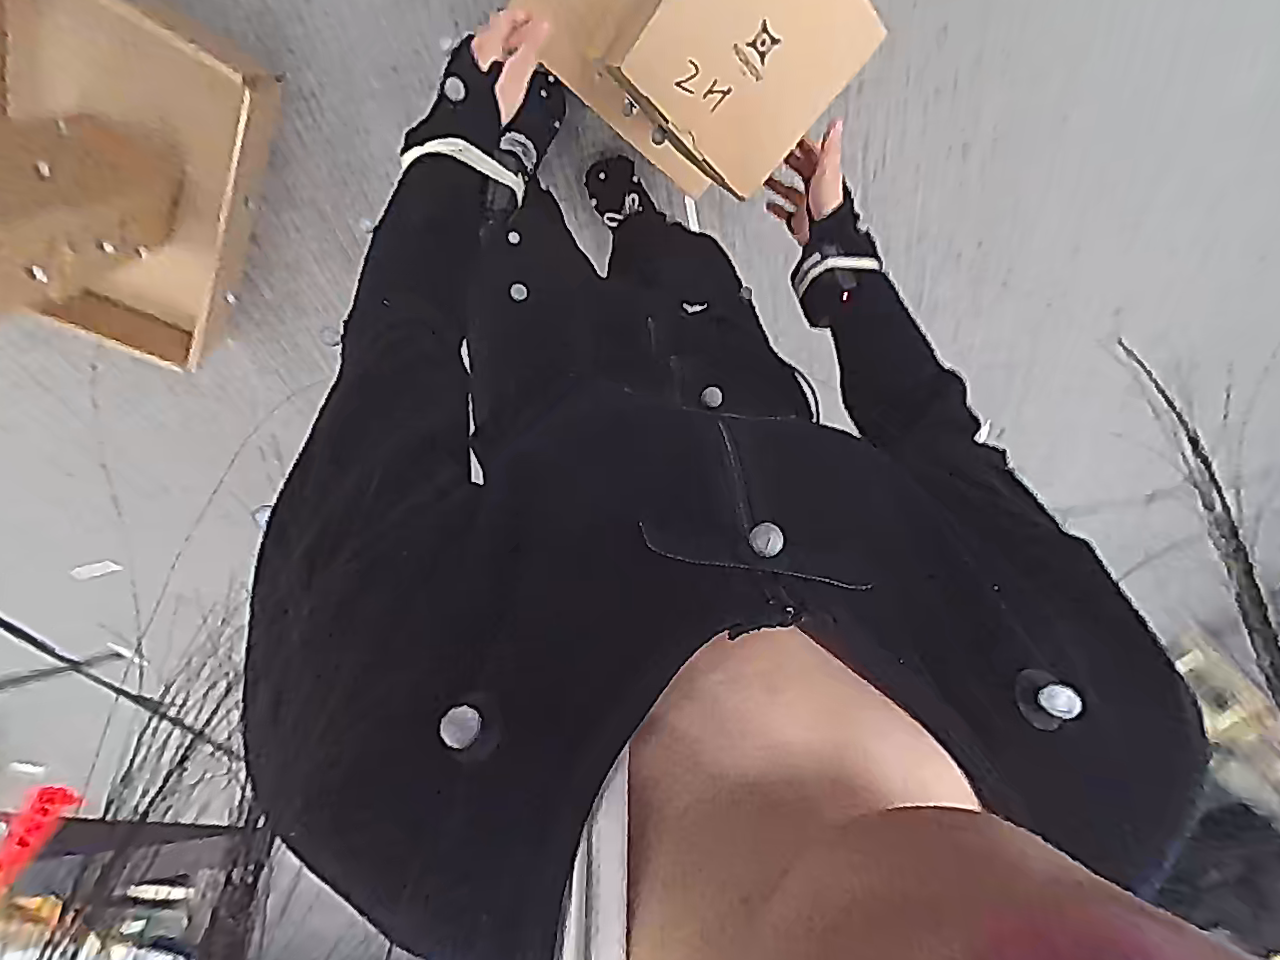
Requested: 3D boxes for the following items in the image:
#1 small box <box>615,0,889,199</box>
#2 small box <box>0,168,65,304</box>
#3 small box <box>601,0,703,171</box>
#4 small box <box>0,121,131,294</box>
[{"bbox_3d":[0.090,-0.417,0.523,0.168,0.176,0.179,32,116,-29],"label":"small box"},{"bbox_3d":[-0.953,-0.345,0.728,0.179,0.176,0.168,27,118,-28],"label":"small box"},{"bbox_3d":[0.066,-0.520,0.650,0.168,0.176,0.179,32,117,-30],"label":"small box"},{"bbox_3d":[-0.973,-0.438,0.861,0.179,0.176,0.168,28,118,-29],"label":"small box"}]
